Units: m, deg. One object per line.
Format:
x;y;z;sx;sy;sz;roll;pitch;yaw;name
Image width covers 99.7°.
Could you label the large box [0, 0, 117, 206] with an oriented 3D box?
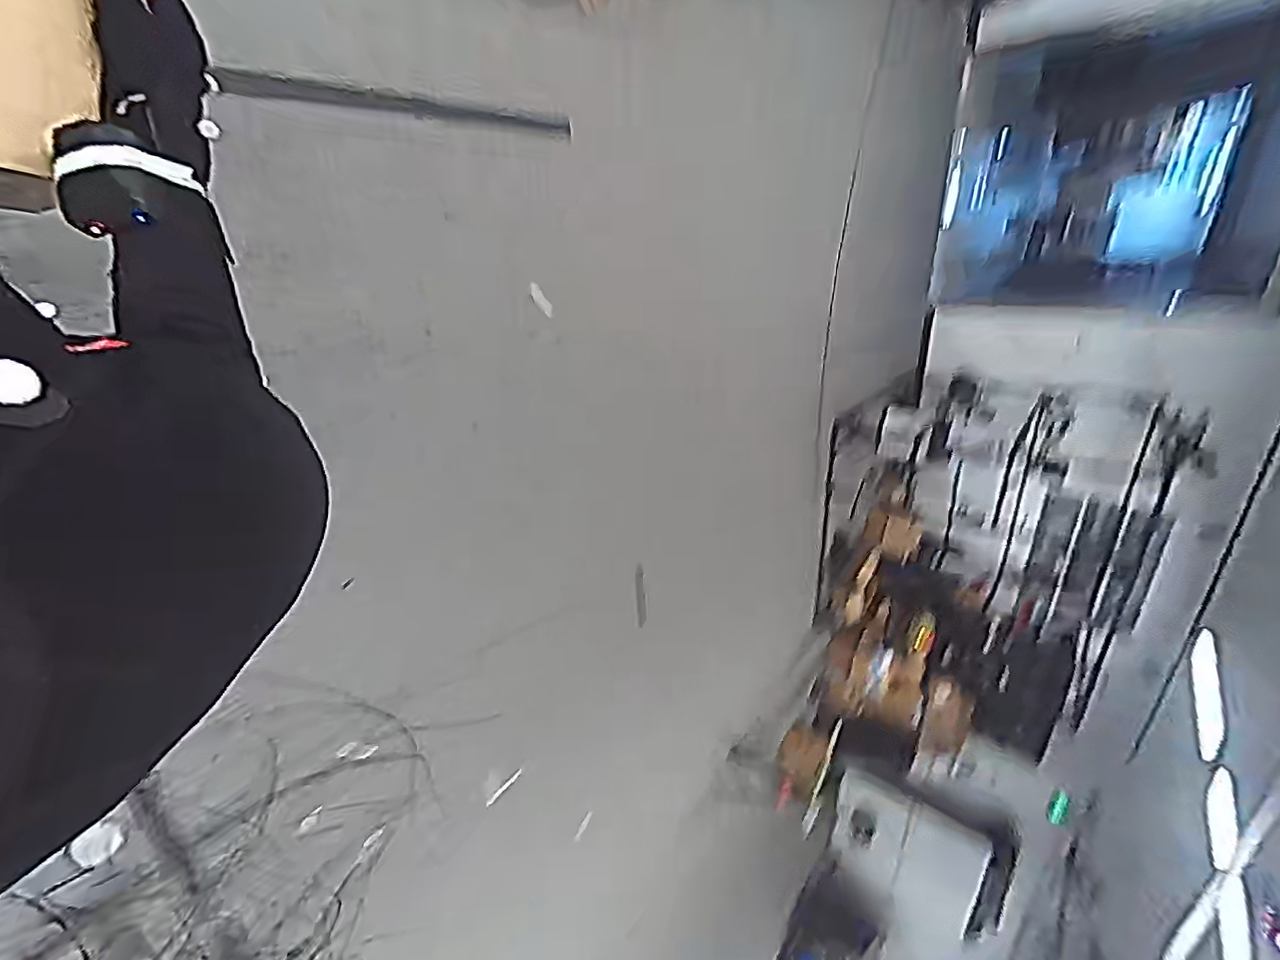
-0.646;-0.389;0.323;0.408;0.320;0.320;-13;114;-56;large box
